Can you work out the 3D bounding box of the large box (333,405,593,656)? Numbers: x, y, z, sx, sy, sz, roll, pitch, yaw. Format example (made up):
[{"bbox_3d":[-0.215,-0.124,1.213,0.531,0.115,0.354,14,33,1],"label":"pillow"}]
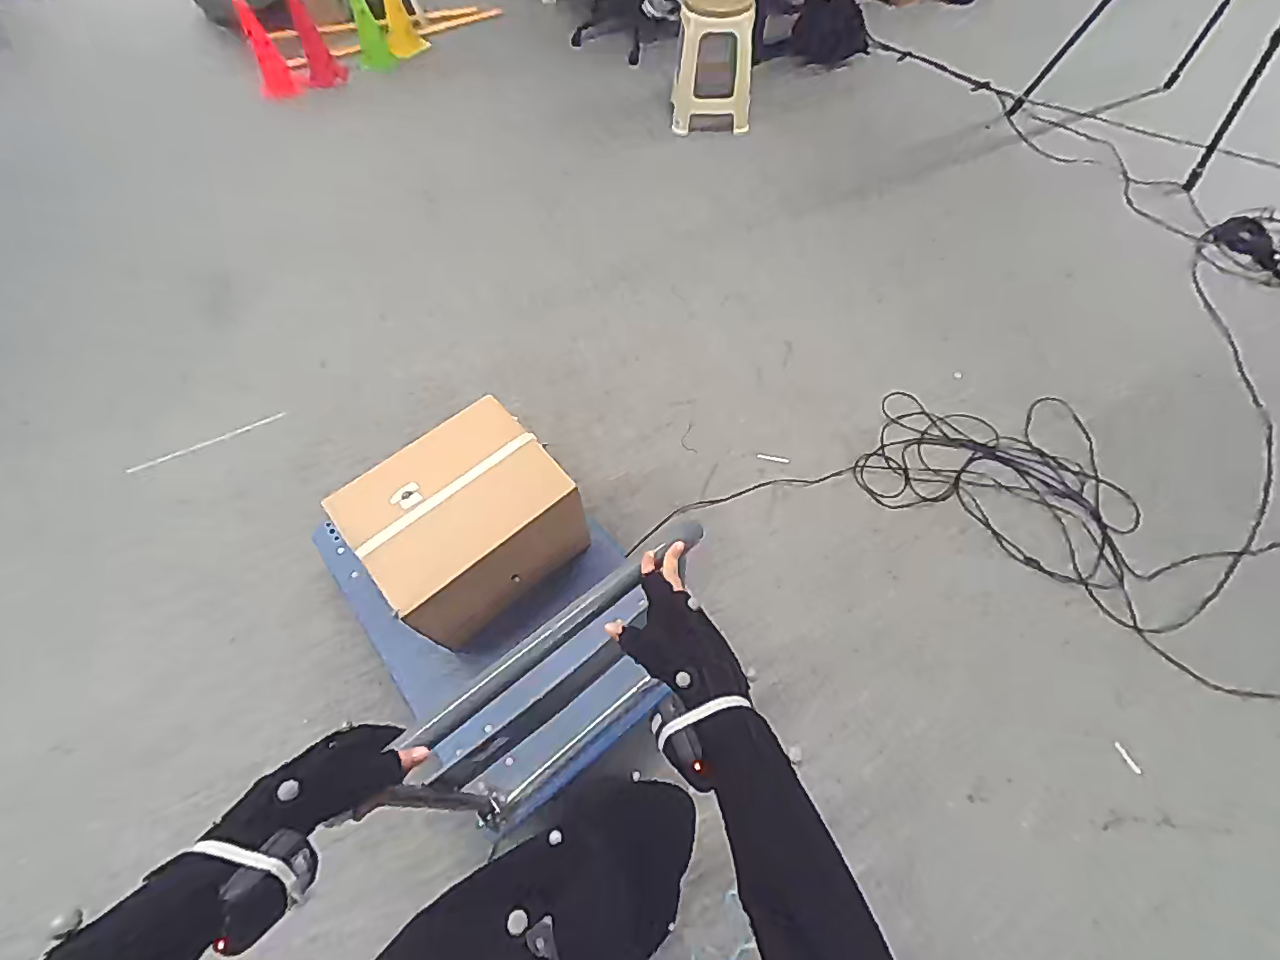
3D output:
[{"bbox_3d":[-0.361,0.119,1.209,0.408,0.320,0.320,-40,67,-18],"label":"large box"}]
